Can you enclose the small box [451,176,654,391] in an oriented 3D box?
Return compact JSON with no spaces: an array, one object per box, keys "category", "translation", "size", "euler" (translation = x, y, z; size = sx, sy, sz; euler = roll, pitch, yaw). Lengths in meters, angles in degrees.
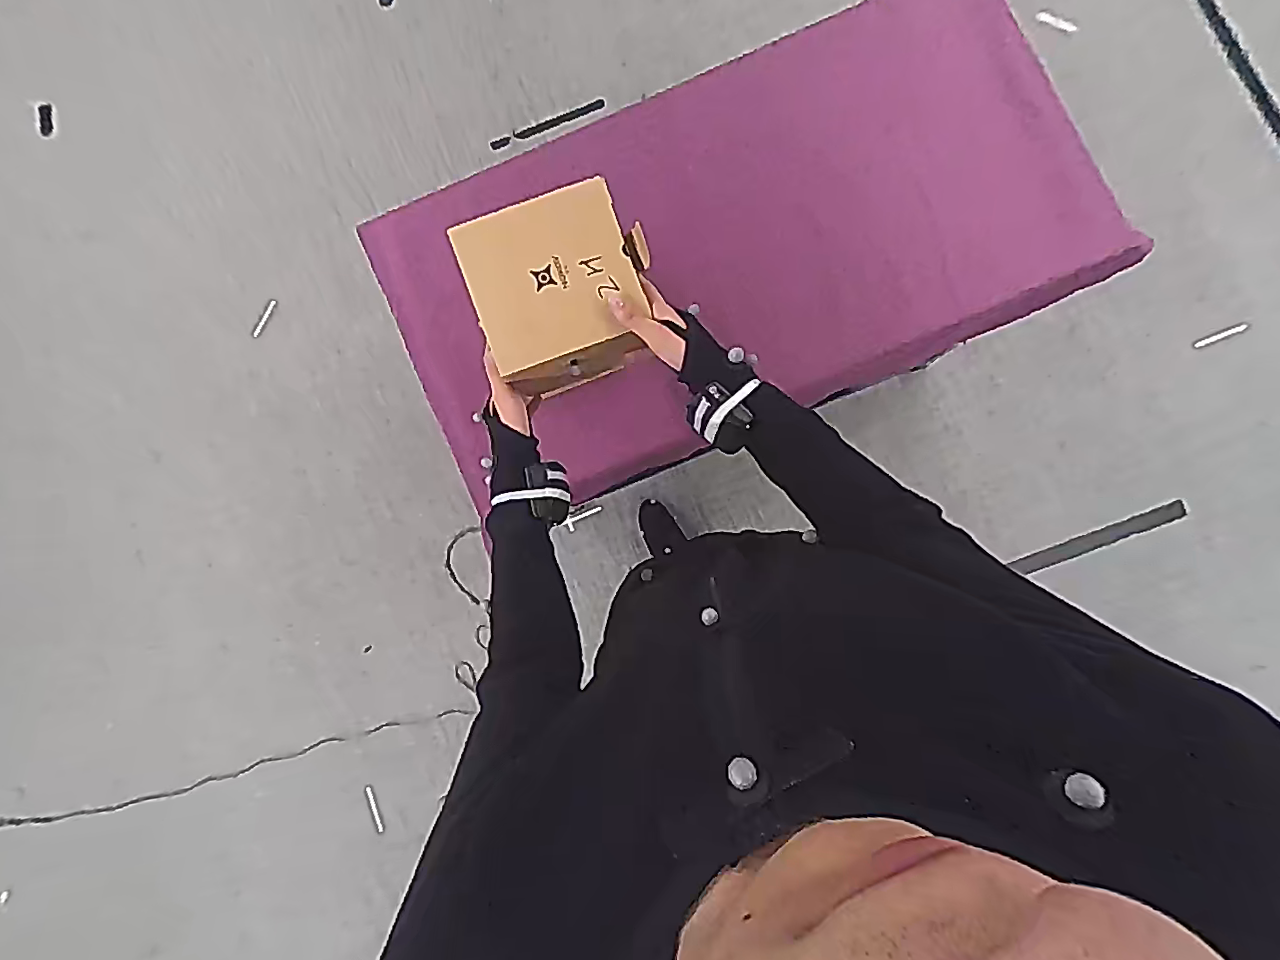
[{"category":"small box","translation":[-0.093,-0.217,0.647],"size":[0.179,0.176,0.168],"euler":[-20,92,-2]}]
